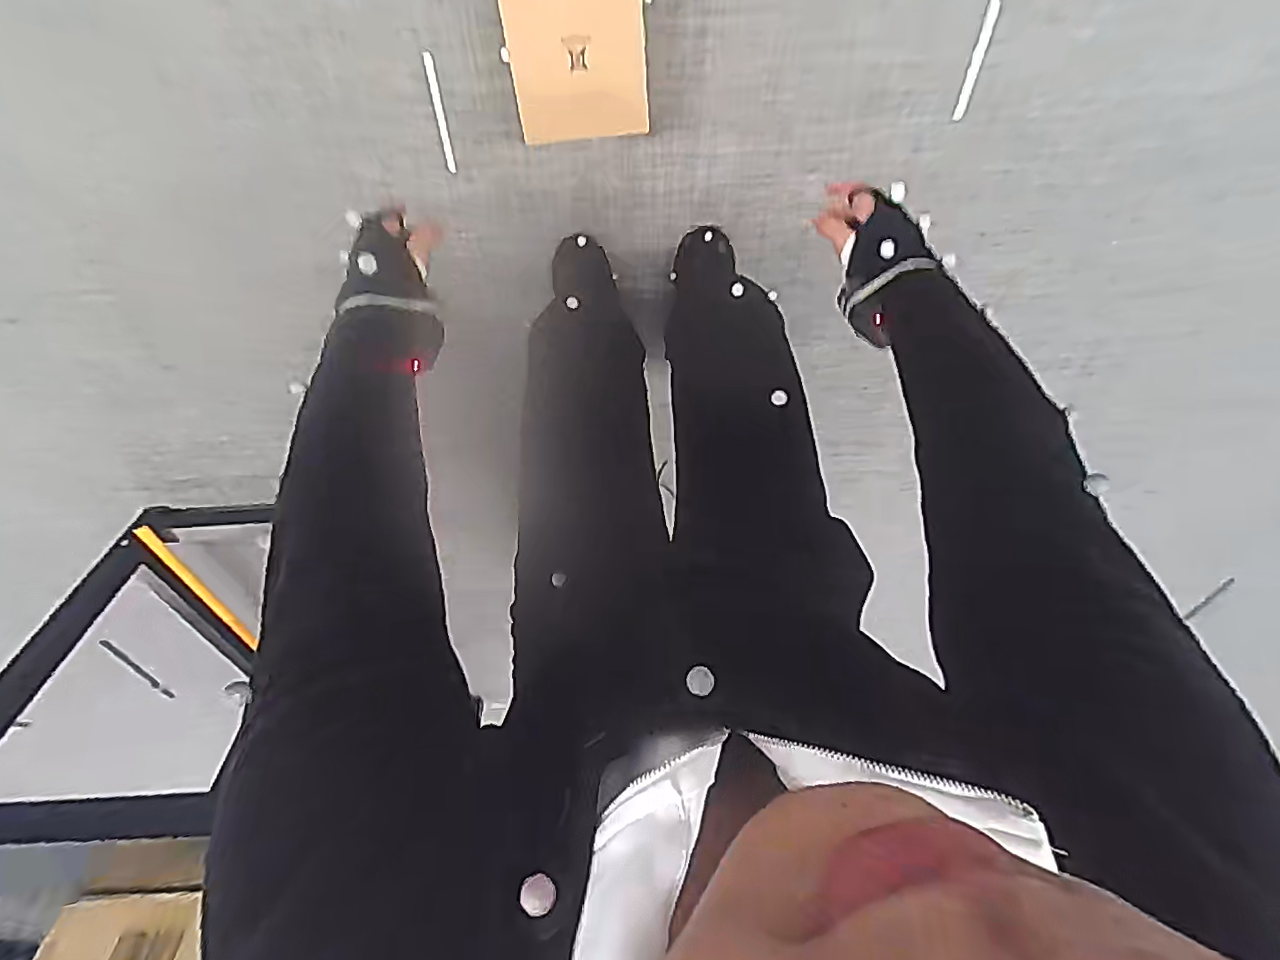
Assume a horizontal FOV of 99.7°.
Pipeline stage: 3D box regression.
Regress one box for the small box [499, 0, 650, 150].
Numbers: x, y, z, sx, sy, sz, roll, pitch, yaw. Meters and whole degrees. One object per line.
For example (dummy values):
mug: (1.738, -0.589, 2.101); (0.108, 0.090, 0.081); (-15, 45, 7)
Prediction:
small box: (-0.078, -0.560, 0.711); (0.168, 0.176, 0.179); (-5, 134, 3)
